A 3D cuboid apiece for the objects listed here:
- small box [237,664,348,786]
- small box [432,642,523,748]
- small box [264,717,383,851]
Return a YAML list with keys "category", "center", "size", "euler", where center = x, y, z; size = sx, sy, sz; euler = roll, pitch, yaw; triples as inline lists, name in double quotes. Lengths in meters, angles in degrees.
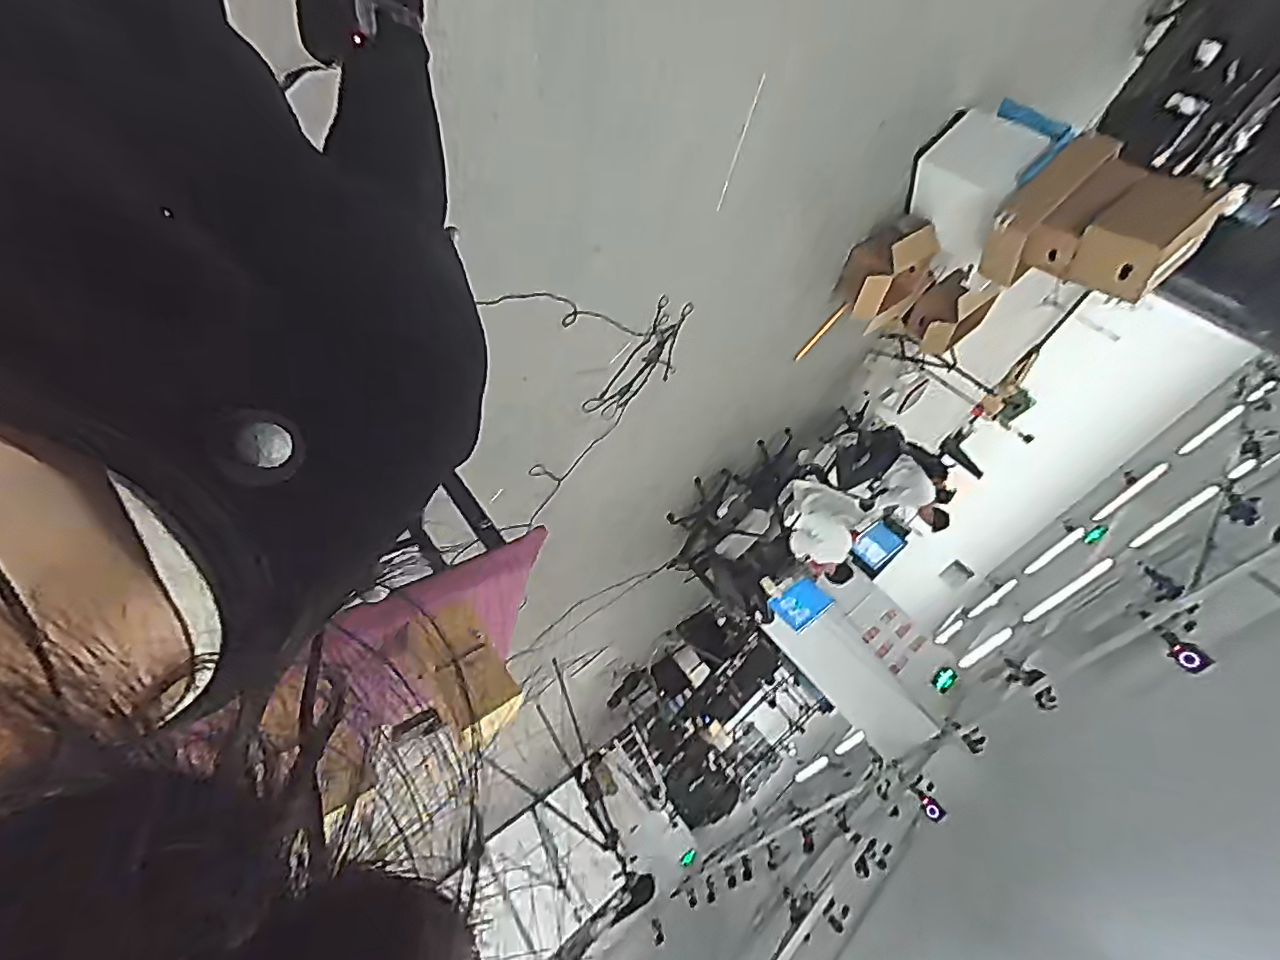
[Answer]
- category: "small box"
  center: [-0.806, 0.564, 1.264]
  size: [0.179, 0.176, 0.168]
  euler: [-18, 146, -41]
- category: "small box"
  center: [-0.429, 0.557, 1.416]
  size: [0.168, 0.176, 0.179]
  euler: [-24, 150, -36]
- category: "small box"
  center: [-0.694, 0.662, 1.193]
  size: [0.179, 0.176, 0.168]
  euler: [-21, 148, -41]
